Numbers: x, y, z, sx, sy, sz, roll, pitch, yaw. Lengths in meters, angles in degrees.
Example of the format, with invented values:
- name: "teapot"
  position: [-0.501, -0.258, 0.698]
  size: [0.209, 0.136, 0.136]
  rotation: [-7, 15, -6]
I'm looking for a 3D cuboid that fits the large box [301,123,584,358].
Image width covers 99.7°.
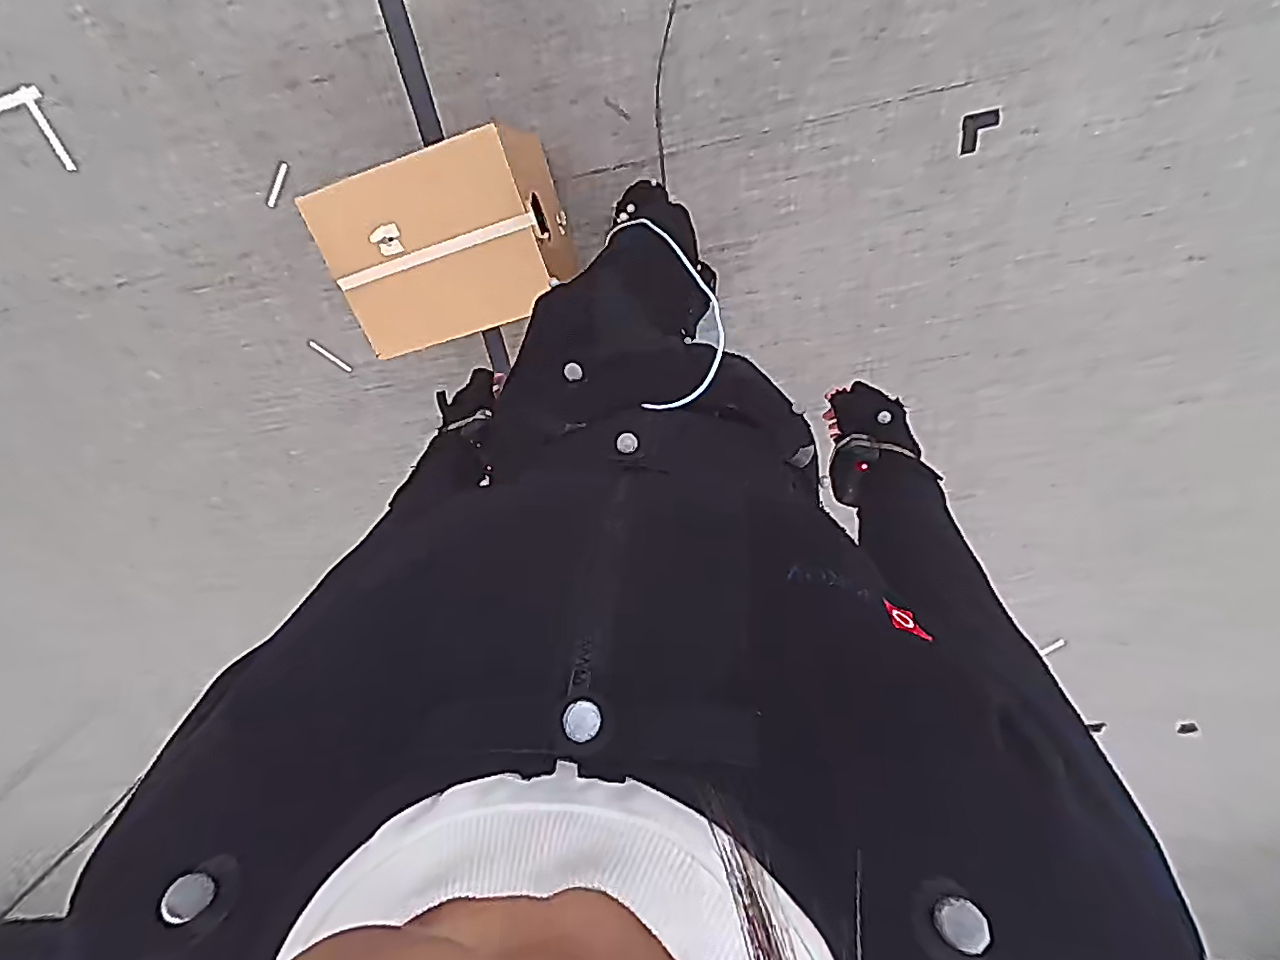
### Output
- name: "large box"
  position: [-0.374, -0.495, 1.134]
  size: [0.408, 0.320, 0.320]
  rotation: [-13, 116, 12]
